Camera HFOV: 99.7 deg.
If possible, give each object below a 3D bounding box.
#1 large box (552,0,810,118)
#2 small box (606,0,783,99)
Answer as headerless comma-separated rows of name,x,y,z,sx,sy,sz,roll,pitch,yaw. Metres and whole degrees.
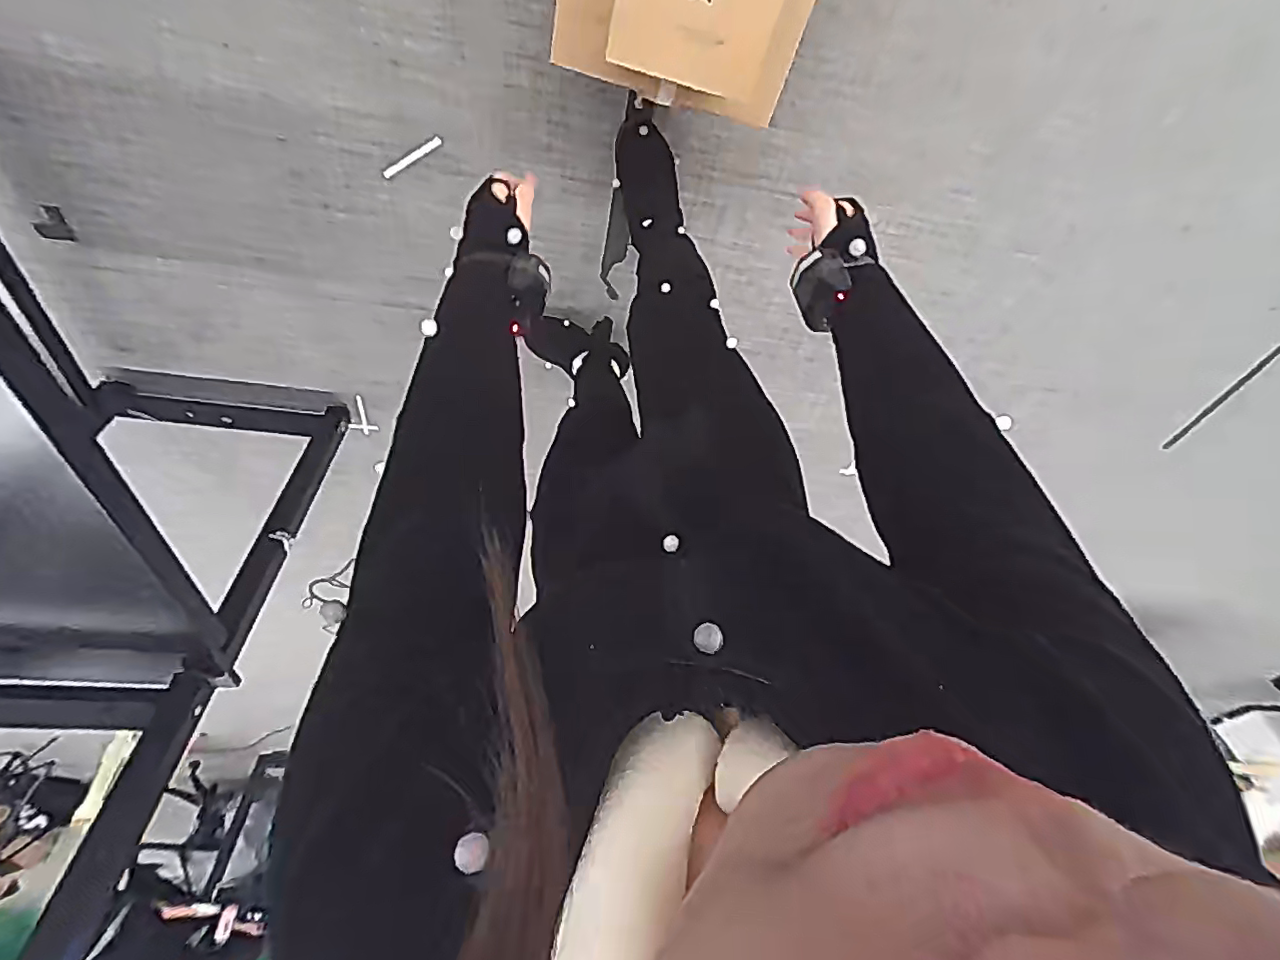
large box,0.071,-0.767,0.697,0.320,0.320,0.408,7,135,-13
small box,0.061,-0.546,0.572,0.168,0.176,0.179,9,135,-12
